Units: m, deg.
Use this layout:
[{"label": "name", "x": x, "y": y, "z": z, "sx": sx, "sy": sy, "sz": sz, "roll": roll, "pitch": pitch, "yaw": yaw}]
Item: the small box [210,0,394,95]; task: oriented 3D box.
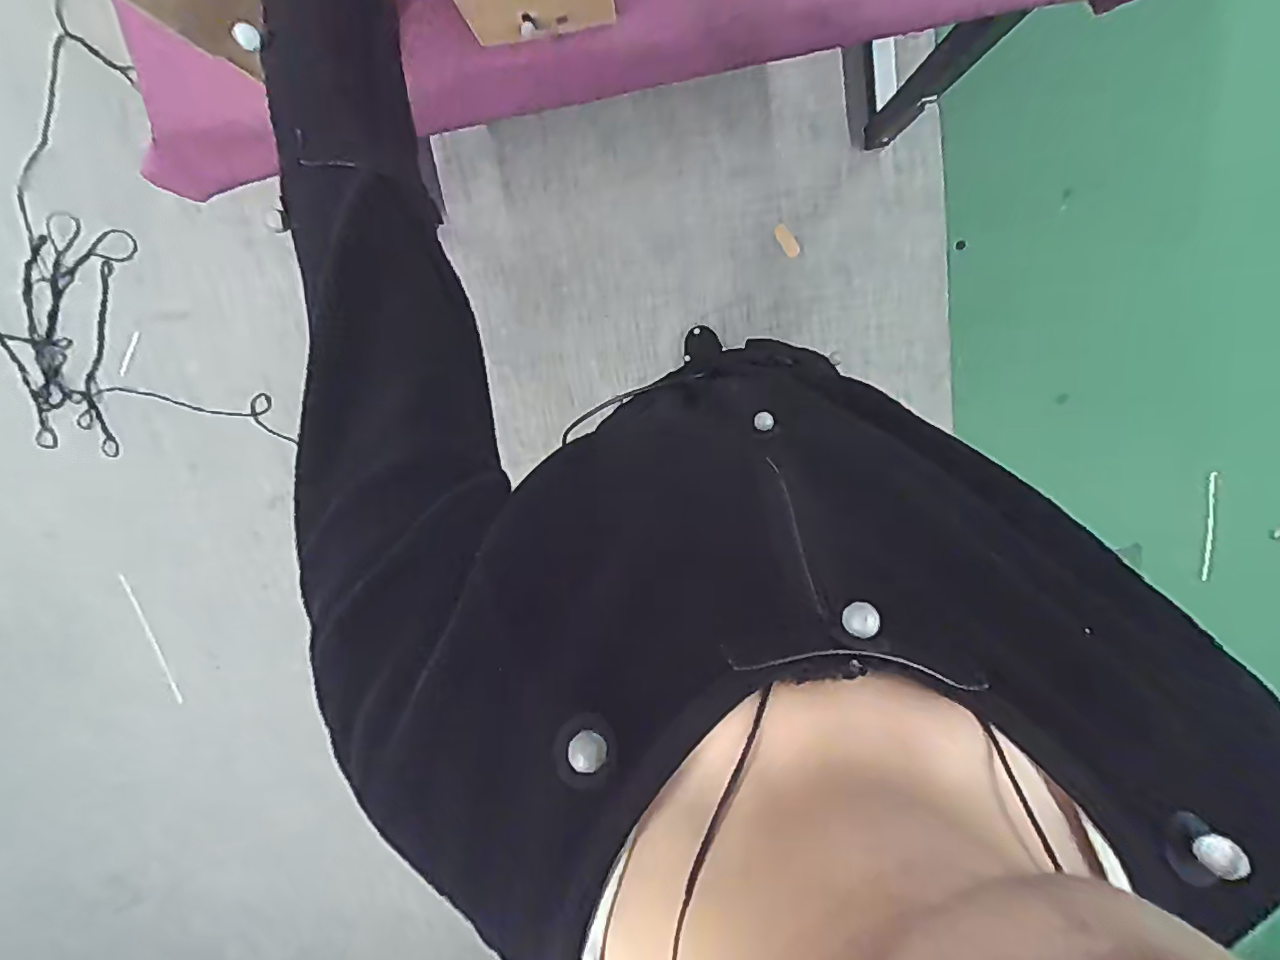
[{"label": "small box", "x": -0.403, "y": -0.563, "z": 0.571, "sx": 0.179, "sy": 0.176, "sz": 0.168, "roll": -33, "pitch": 100, "yaw": 10}]

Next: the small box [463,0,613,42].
[{"label": "small box", "x": -0.126, "y": -0.600, "z": 0.548, "sx": 0.168, "sy": 0.176, "sz": 0.179, "roll": -7, "pitch": 102, "yaw": 6}]
